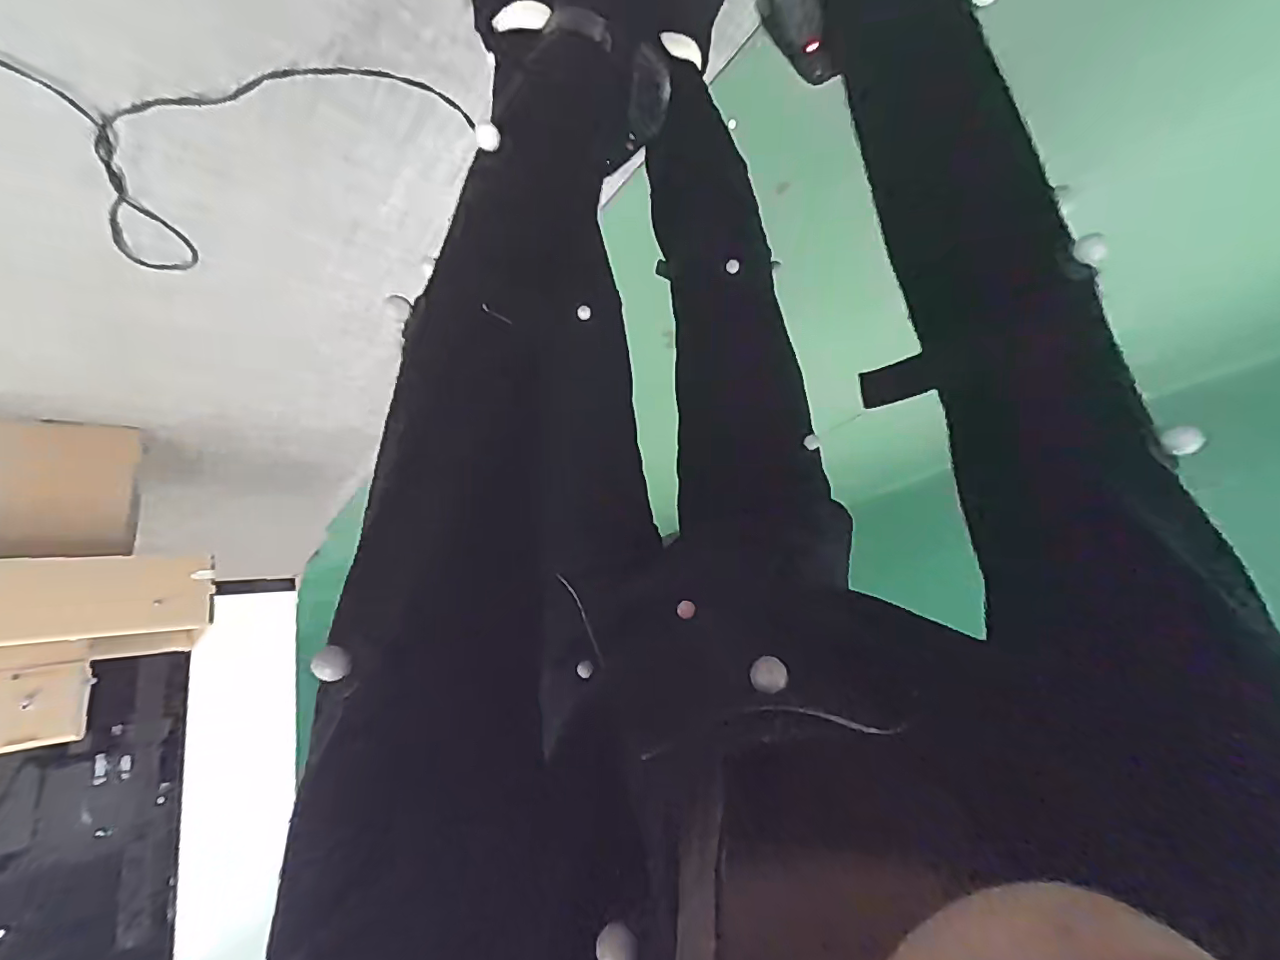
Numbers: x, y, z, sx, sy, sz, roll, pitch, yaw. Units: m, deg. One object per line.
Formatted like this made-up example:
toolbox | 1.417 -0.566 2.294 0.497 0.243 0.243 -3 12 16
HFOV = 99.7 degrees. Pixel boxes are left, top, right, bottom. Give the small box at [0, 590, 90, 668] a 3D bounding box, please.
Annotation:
small box | -1.430 0.362 1.280 0.168 0.176 0.179 4 155 -42

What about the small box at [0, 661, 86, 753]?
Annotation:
small box | -1.394 0.514 1.231 0.168 0.176 0.179 4 155 -40
